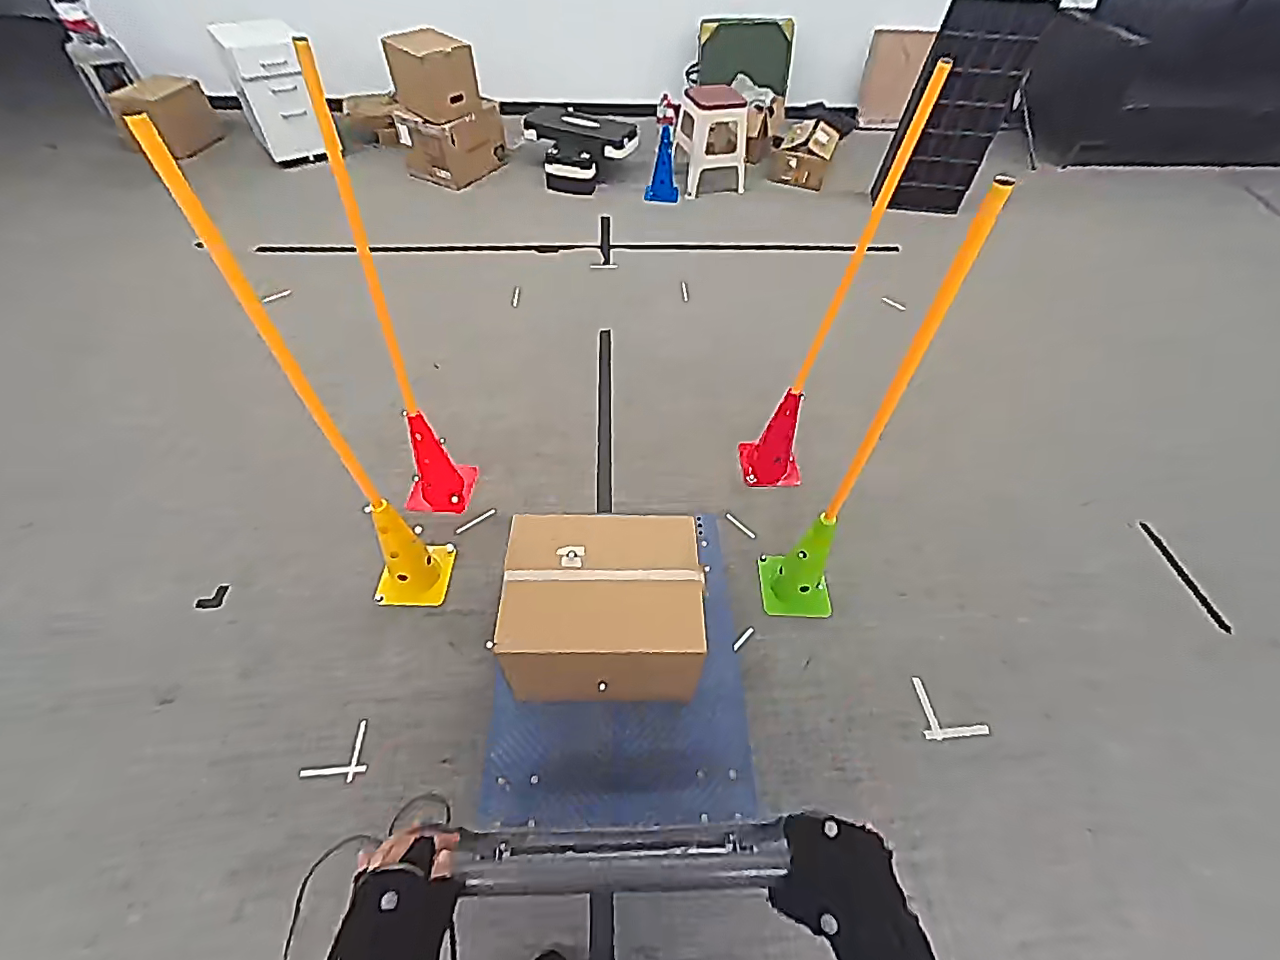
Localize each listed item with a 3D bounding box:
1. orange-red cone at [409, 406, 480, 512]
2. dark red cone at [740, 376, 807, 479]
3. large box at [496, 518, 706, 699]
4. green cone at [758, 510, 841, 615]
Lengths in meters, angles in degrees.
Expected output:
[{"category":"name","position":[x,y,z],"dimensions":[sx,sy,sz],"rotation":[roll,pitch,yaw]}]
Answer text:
[{"category":"orange-red cone","position":[-0.649,-0.090,1.697],"dimensions":[0.198,0.360,0.199],"rotation":[6,50,1]},{"category":"dark red cone","position":[0.477,-0.183,1.798],"dimensions":[0.201,0.394,0.202],"rotation":[1,52,-5]},{"category":"large box","position":[-0.078,0.298,1.227],"dimensions":[0.408,0.320,0.320],"rotation":[1,52,-1]},{"category":"green cone","position":[0.476,0.207,1.509],"dimensions":[0.202,0.368,0.200],"rotation":[3,51,-2]}]
